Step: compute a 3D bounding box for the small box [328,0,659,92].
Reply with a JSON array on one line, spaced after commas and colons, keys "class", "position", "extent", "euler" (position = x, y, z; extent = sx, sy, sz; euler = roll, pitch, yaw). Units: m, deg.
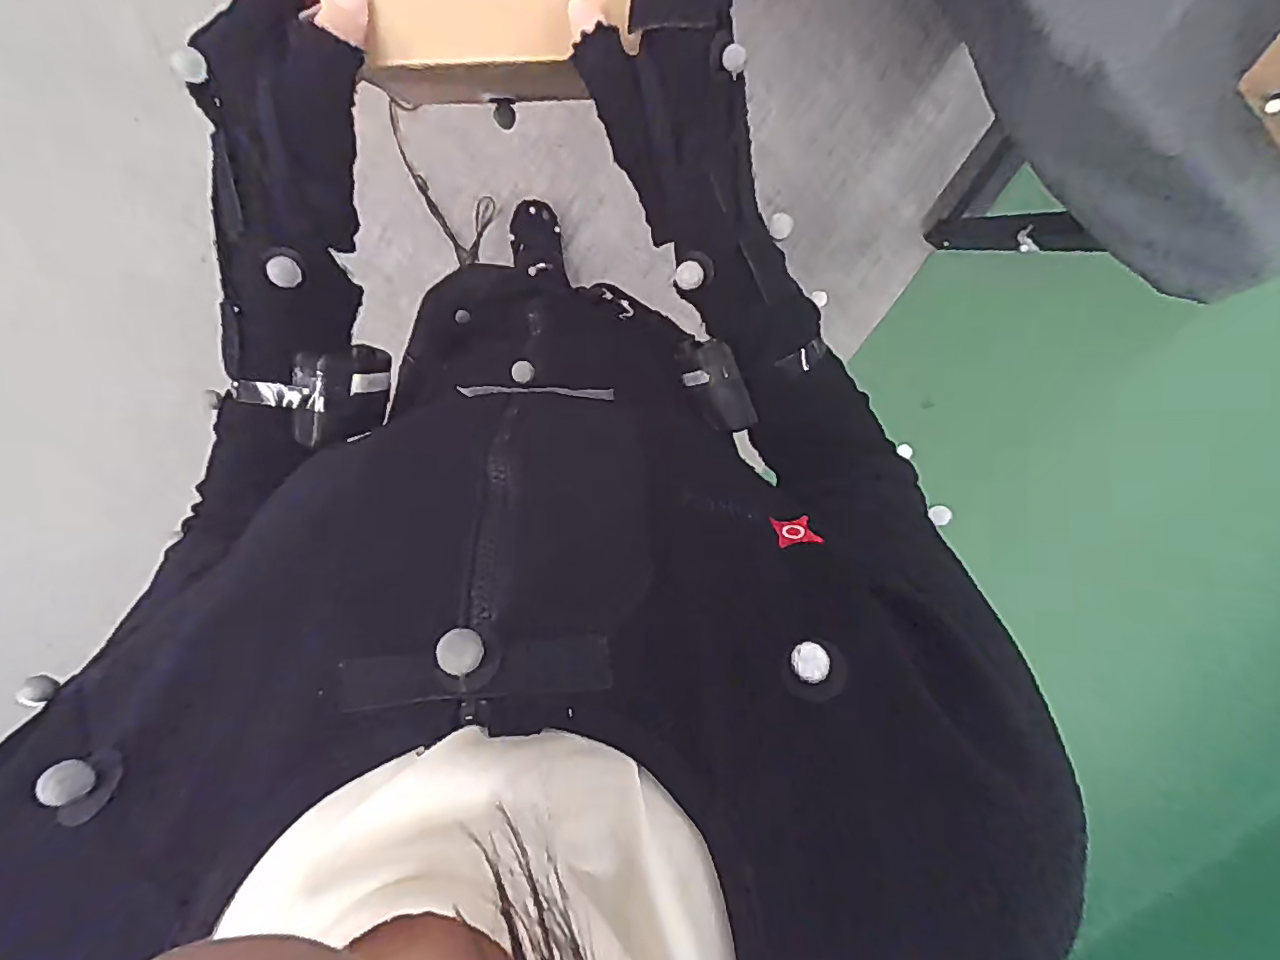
[{"class": "small box", "position": [-0.084, -0.339, 0.306], "extent": [0.168, 0.176, 0.179], "euler": [-6, 120, -5]}]

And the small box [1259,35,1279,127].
[{"class": "small box", "position": [0.775, -0.432, 0.519], "extent": [0.168, 0.176, 0.179], "euler": [30, 105, -17]}]
